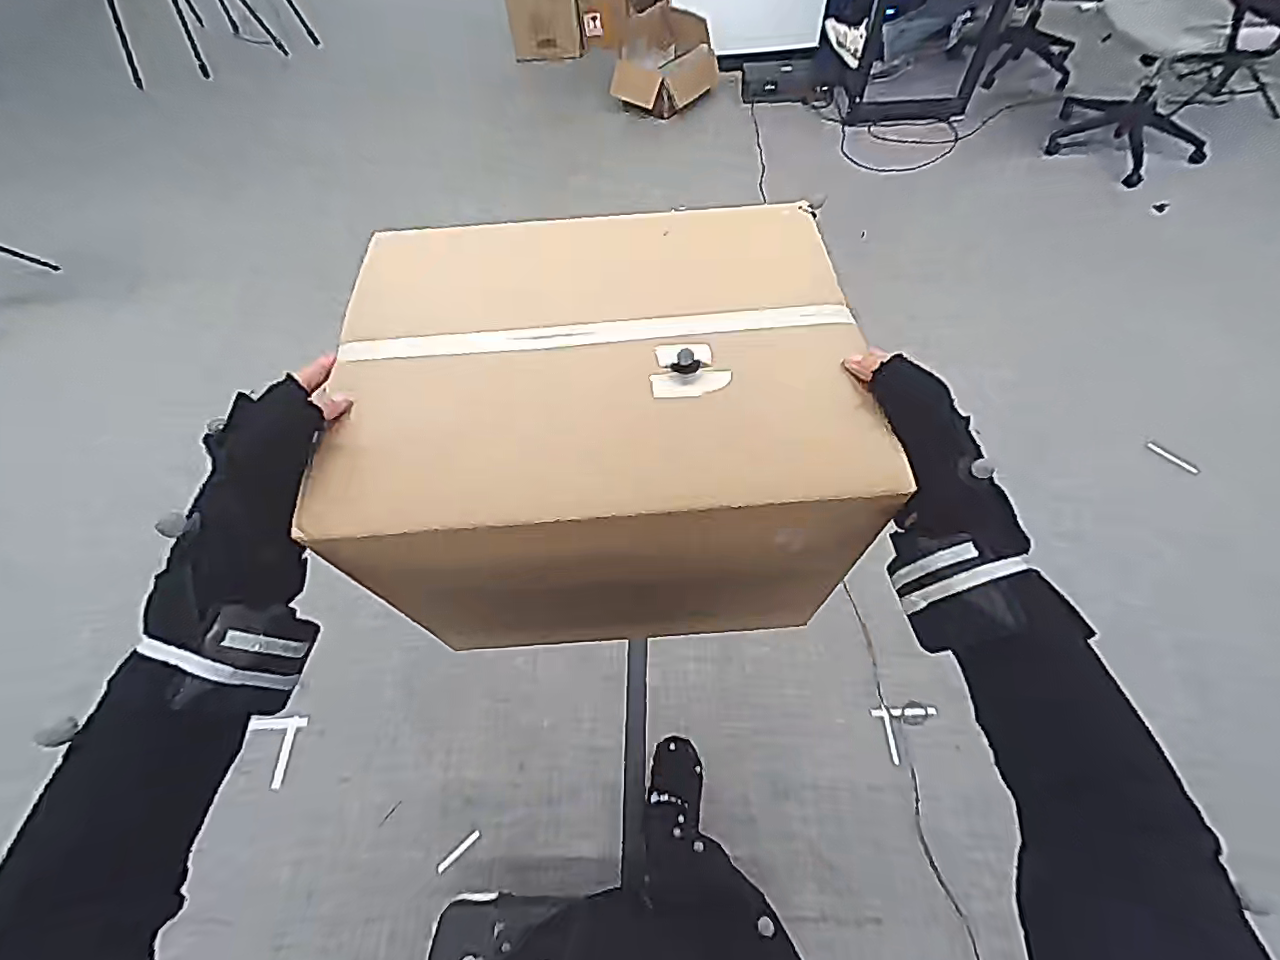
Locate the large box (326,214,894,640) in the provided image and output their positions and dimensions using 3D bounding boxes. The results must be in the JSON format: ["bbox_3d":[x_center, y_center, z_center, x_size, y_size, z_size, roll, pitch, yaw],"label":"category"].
[{"bbox_3d":[-0.027,-0.037,0.574,0.408,0.320,0.320,-4,60,-1],"label":"large box"}]
